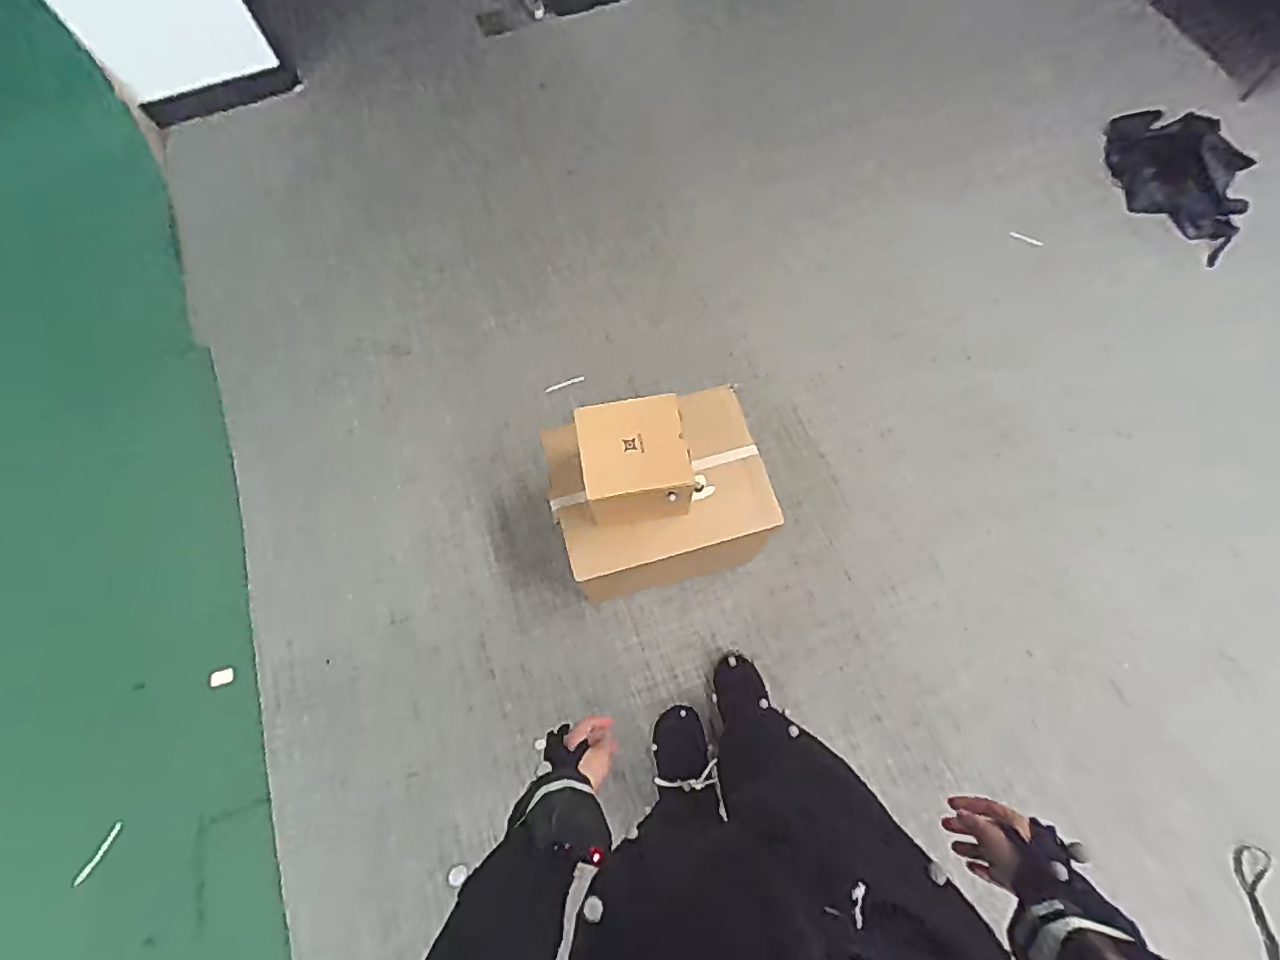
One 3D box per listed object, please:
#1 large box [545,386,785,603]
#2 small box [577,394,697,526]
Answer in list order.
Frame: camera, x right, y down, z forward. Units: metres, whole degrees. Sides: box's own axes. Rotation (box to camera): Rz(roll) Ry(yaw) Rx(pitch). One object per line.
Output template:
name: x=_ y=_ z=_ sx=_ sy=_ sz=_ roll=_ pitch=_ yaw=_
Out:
large box: x=0.040 y=0.047 z=1.177 sx=0.408 sy=0.320 sz=0.320 roll=-15 pitch=71 yaw=-6
small box: x=-0.005 y=-0.027 z=0.945 sx=0.179 sy=0.176 sz=0.168 roll=-9 pitch=69 yaw=-3
